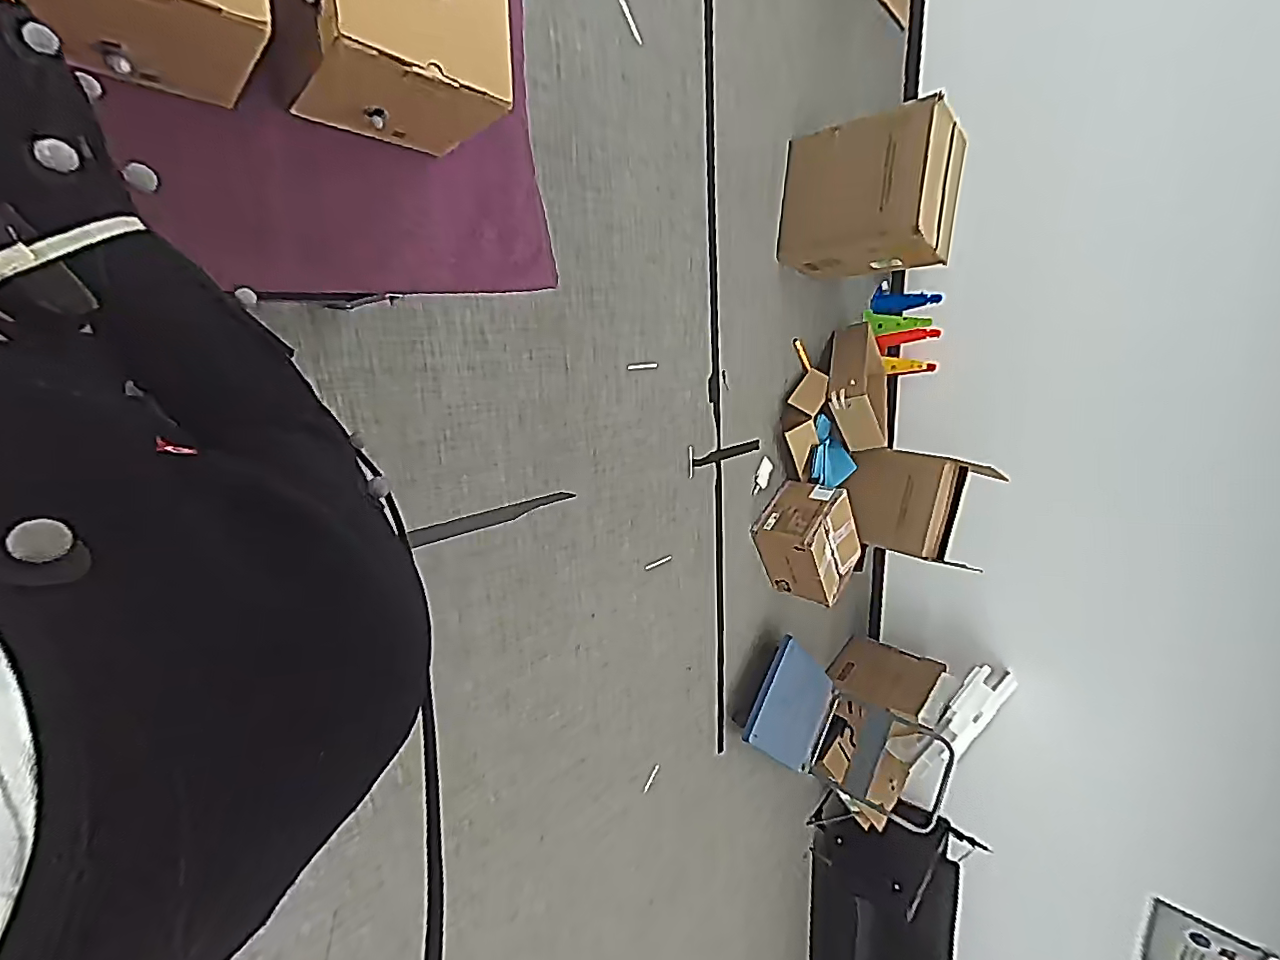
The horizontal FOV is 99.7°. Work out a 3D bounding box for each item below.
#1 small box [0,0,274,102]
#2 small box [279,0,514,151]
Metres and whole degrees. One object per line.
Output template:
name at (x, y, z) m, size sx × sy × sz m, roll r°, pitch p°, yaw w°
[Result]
small box at (-0.390, -0.420, 0.389) m, size 0.168 × 0.176 × 0.179 m, roll -12°, pitch 106°, yaw -44°
small box at (-0.243, -0.462, 0.533) m, size 0.168 × 0.176 × 0.179 m, roll -11°, pitch 105°, yaw -44°
